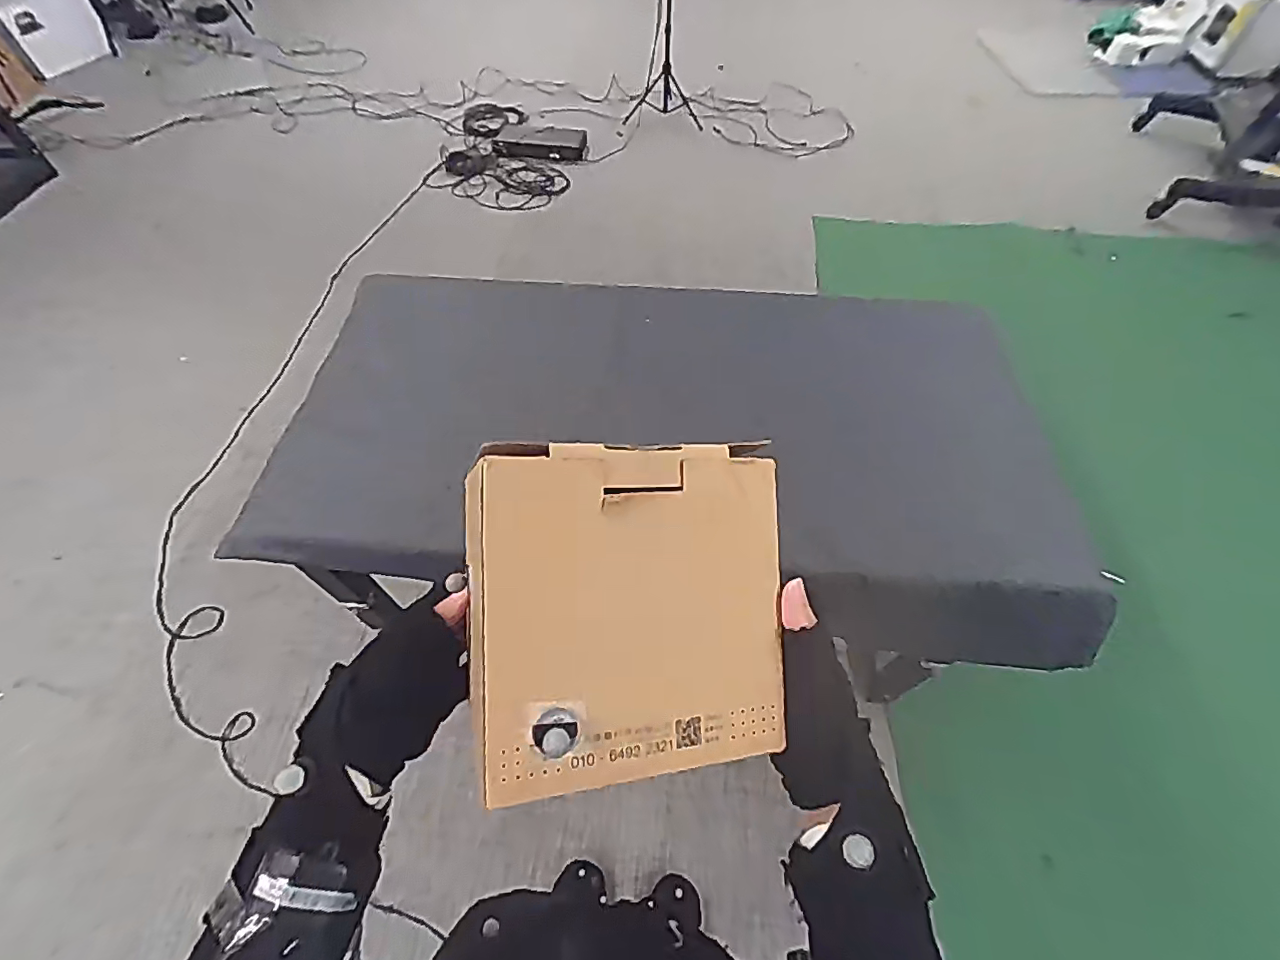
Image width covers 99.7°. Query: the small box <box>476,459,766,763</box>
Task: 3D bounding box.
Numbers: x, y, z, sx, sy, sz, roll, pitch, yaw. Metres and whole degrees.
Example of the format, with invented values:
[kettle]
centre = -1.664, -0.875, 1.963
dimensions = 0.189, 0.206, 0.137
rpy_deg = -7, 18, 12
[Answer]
[small box]
centre = -0.025, 0.079, 0.377
dimensions = 0.168, 0.179, 0.176
rpy_deg = 1, 85, -19
